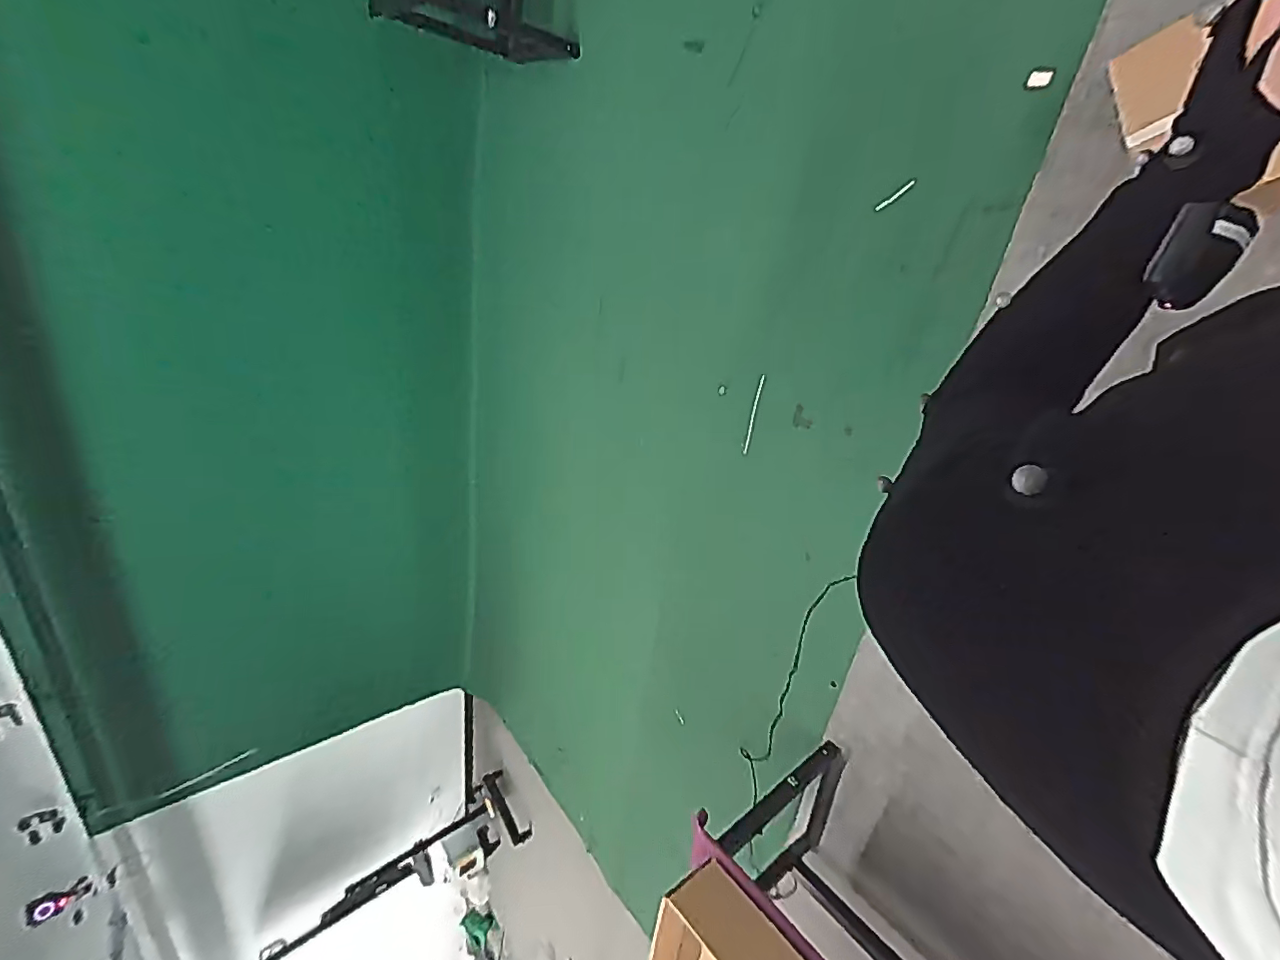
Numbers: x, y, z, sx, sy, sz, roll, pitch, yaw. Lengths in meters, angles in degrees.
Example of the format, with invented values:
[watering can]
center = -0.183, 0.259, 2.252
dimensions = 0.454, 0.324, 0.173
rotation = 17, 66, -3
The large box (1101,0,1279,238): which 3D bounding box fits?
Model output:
[large box]
center = 1.109, -0.667, 0.920
dimensions = 0.408, 0.320, 0.320
rotation = -15, 88, 51
